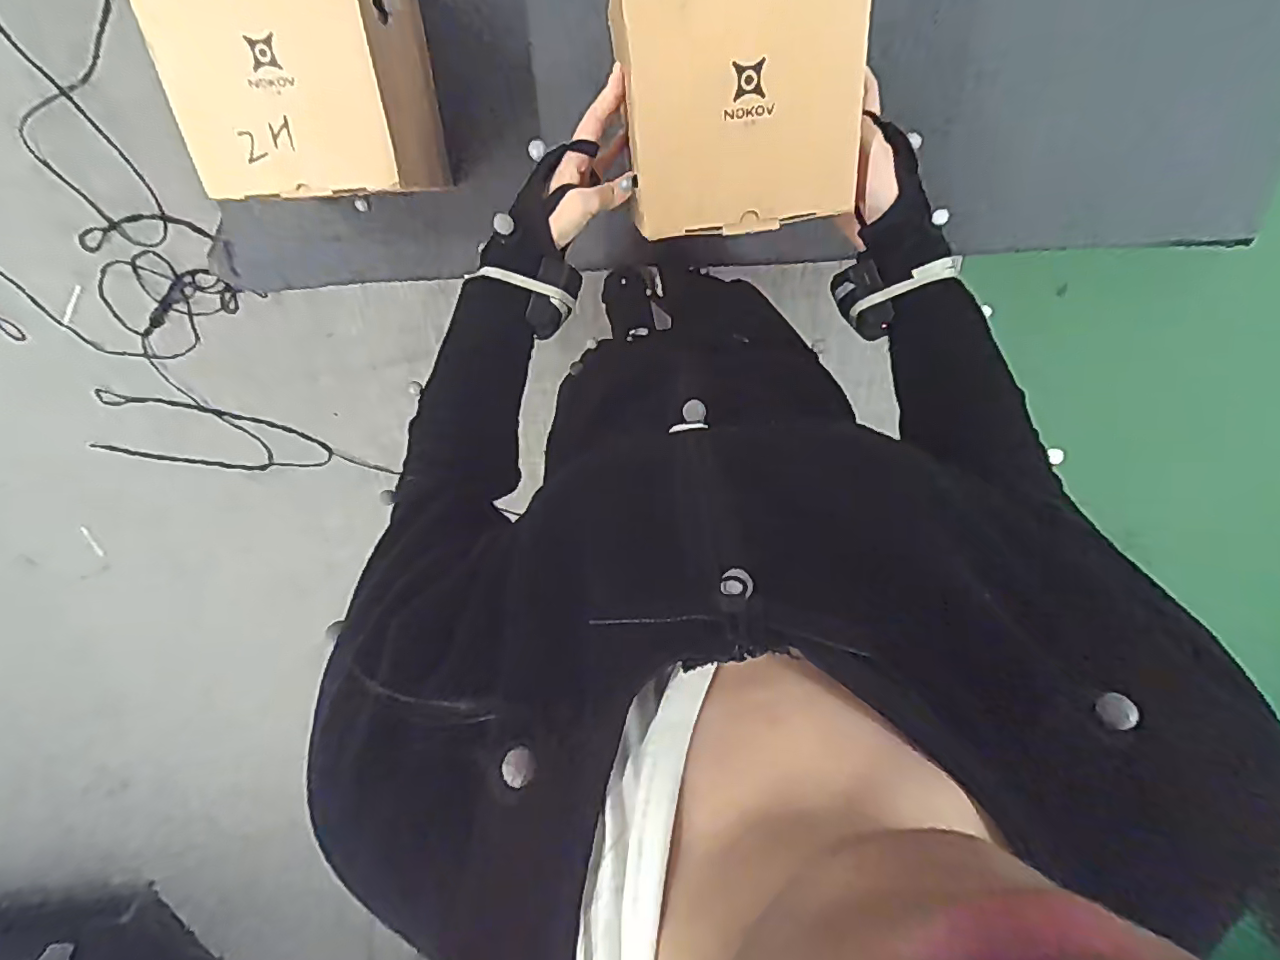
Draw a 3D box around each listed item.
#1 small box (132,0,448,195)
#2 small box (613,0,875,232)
[{"bbox_3d":[-0.286,-0.355,0.479,0.168,0.176,0.179,-3,119,-1],"label":"small box"},{"bbox_3d":[0.071,-0.314,0.442,0.168,0.176,0.179,-8,121,0],"label":"small box"}]
